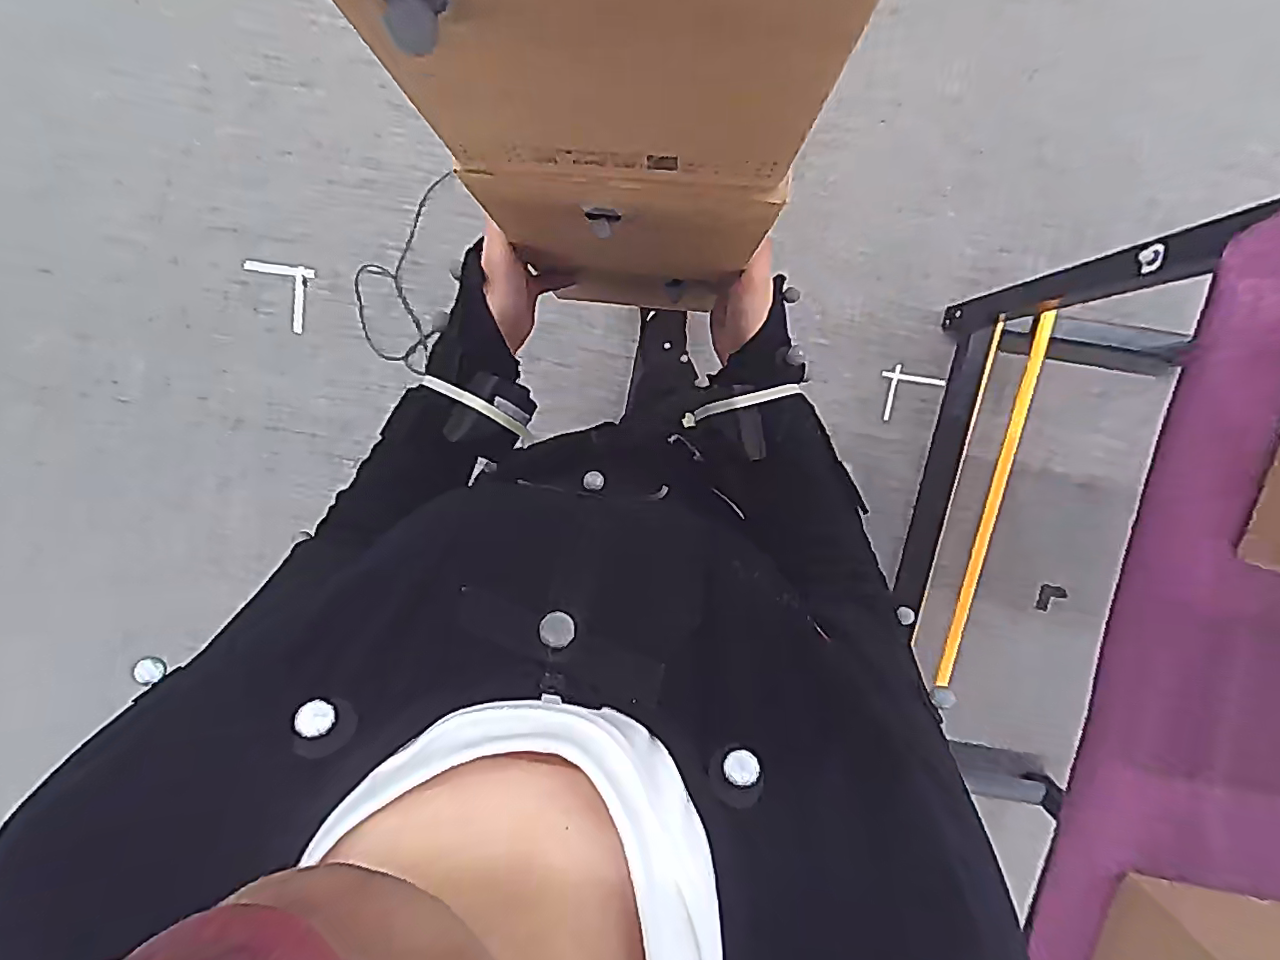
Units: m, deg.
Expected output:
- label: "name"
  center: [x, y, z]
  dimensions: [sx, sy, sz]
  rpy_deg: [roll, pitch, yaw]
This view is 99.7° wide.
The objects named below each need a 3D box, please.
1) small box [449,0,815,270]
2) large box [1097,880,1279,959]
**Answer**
- label: "small box"
  center: [-0.001, -0.243, 0.341]
  dimensions: [0.179, 0.176, 0.168]
  rpy_deg: [5, 97, 0]
- label: "large box"
  center: [0.763, 0.682, 0.540]
  dimensions: [0.408, 0.320, 0.320]
  rpy_deg: [10, 99, -1]
